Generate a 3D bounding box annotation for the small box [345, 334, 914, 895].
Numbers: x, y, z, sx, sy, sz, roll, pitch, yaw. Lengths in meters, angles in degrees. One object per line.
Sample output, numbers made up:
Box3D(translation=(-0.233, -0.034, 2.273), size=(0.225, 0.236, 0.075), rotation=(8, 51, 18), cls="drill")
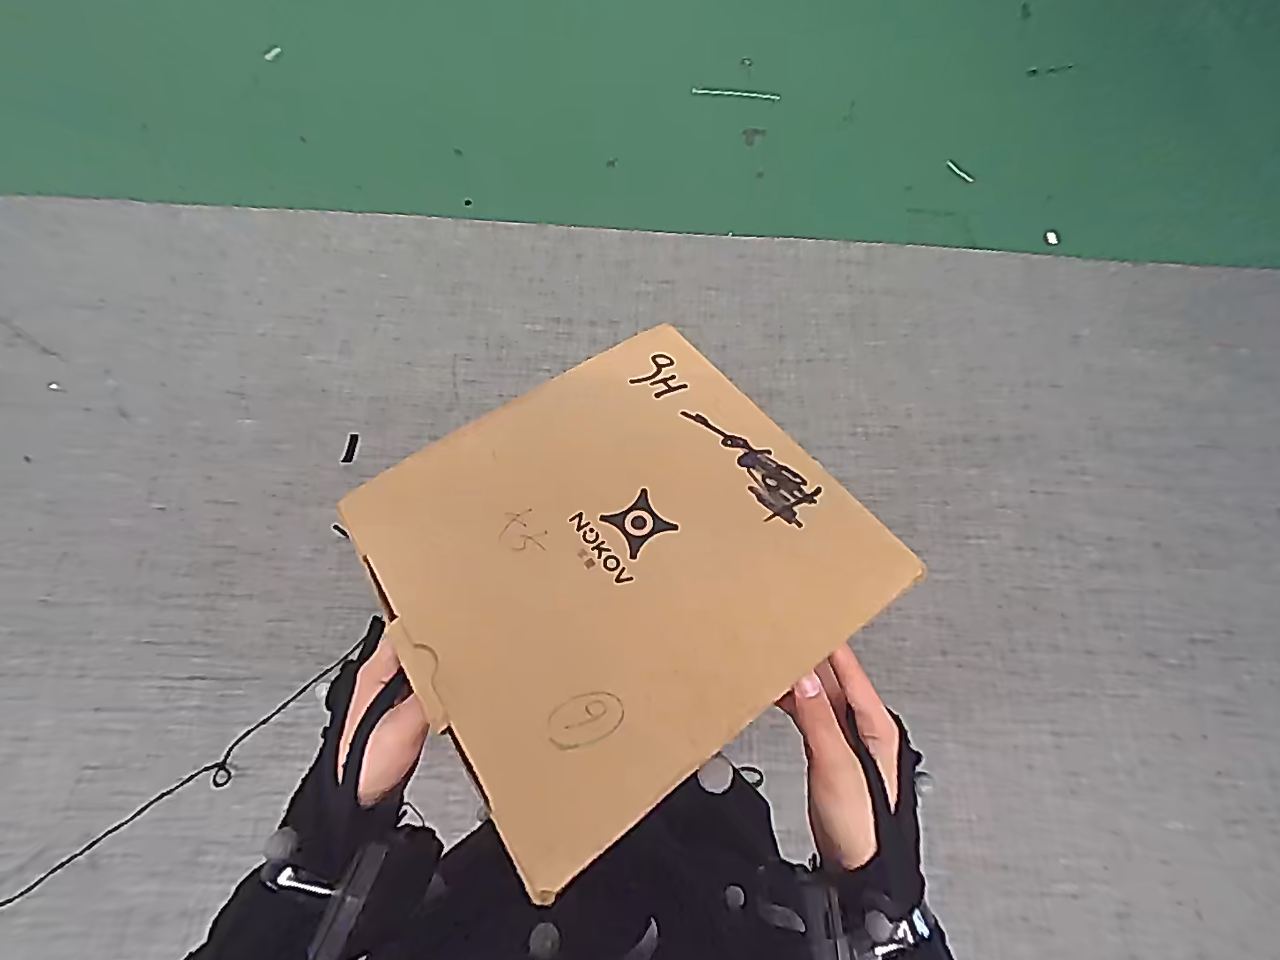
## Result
Box3D(translation=(-0.007, 0.066, 0.285), size=(0.179, 0.176, 0.168), rotation=(-33, 64, -17), cls="small box")
